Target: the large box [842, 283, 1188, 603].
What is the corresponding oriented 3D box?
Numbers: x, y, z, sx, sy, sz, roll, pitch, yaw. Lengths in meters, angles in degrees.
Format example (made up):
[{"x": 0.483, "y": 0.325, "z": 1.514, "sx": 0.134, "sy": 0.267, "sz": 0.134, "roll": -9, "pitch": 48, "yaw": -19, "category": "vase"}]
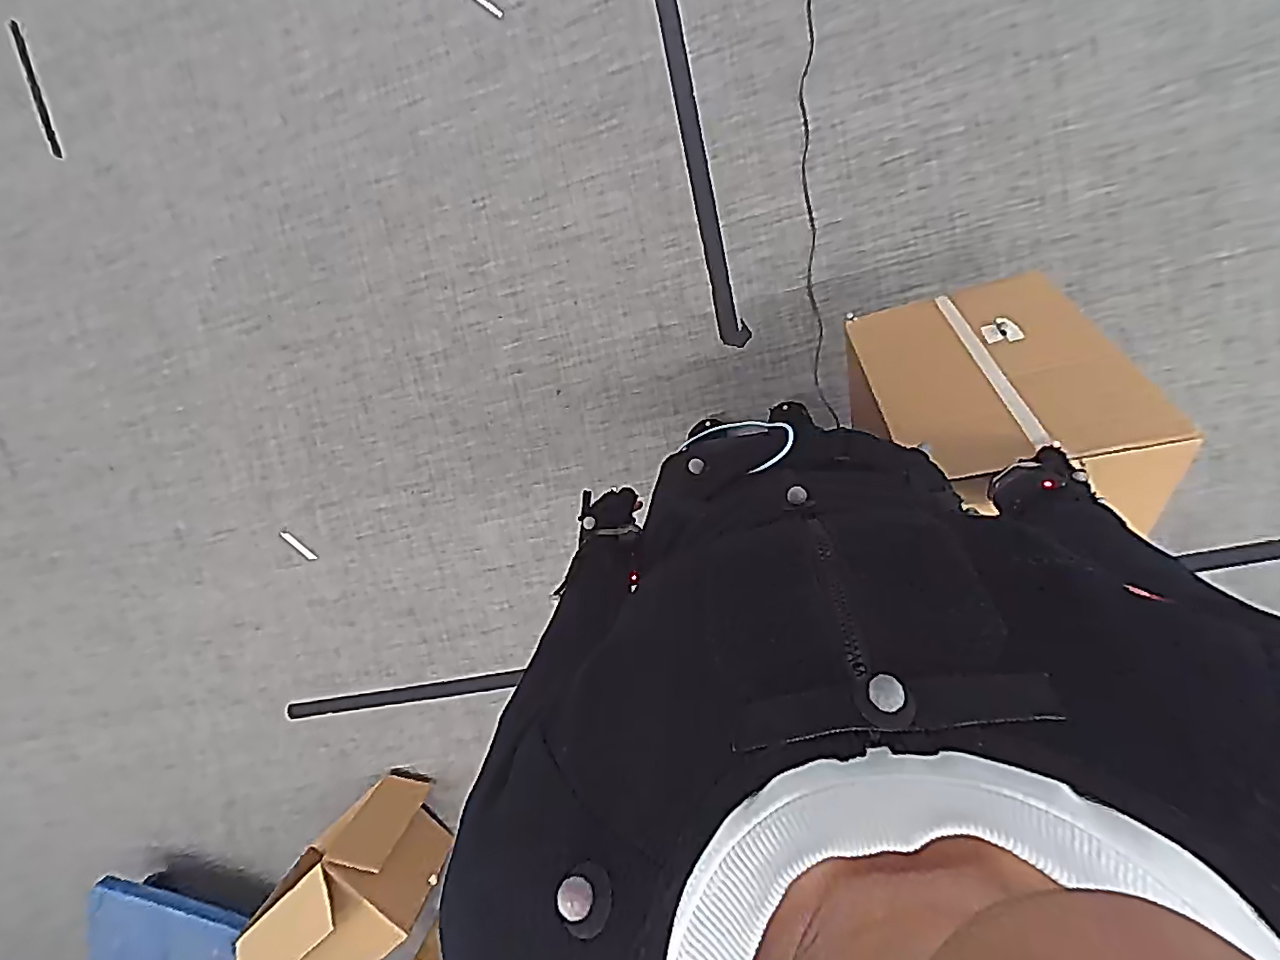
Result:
[{"x": 0.556, "y": -0.061, "z": 0.909, "sx": 0.320, "sy": 0.408, "sz": 0.320, "roll": -11, "pitch": 134, "yaw": 13, "category": "large box"}]
